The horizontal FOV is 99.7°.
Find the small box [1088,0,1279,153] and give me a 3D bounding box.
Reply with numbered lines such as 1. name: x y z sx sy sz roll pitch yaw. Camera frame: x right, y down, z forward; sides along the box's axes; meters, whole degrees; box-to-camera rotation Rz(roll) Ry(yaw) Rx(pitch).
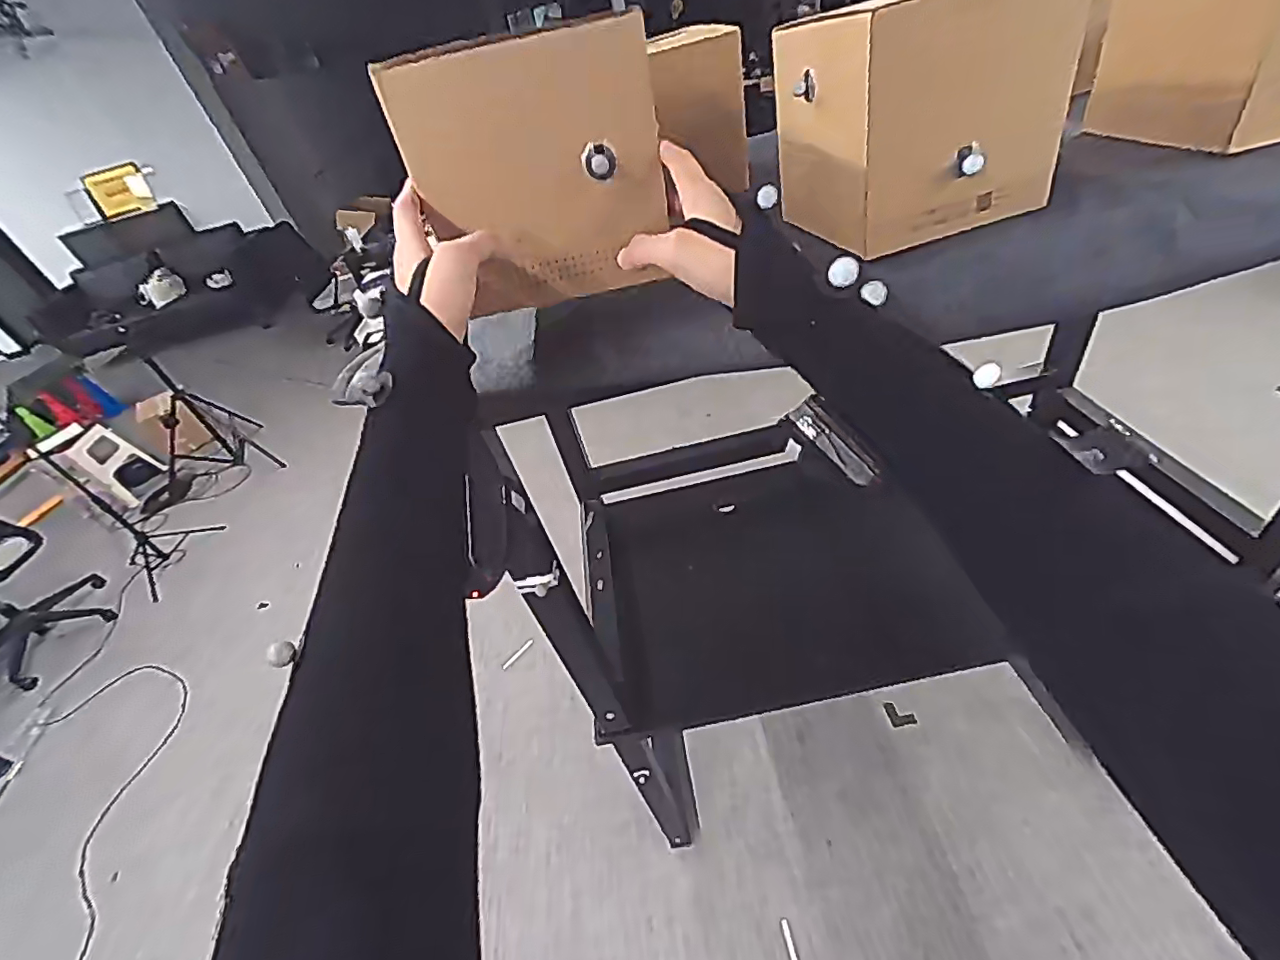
1. small box: 0.558 -0.409 0.480 0.168 0.176 0.179 -14 39 3

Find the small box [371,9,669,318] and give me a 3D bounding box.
1. small box: -0.075 -0.252 0.437 0.179 0.176 0.168 -12 39 0

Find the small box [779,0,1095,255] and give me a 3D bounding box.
1. small box: 0.234 -0.316 0.475 0.168 0.176 0.179 -17 38 -1
